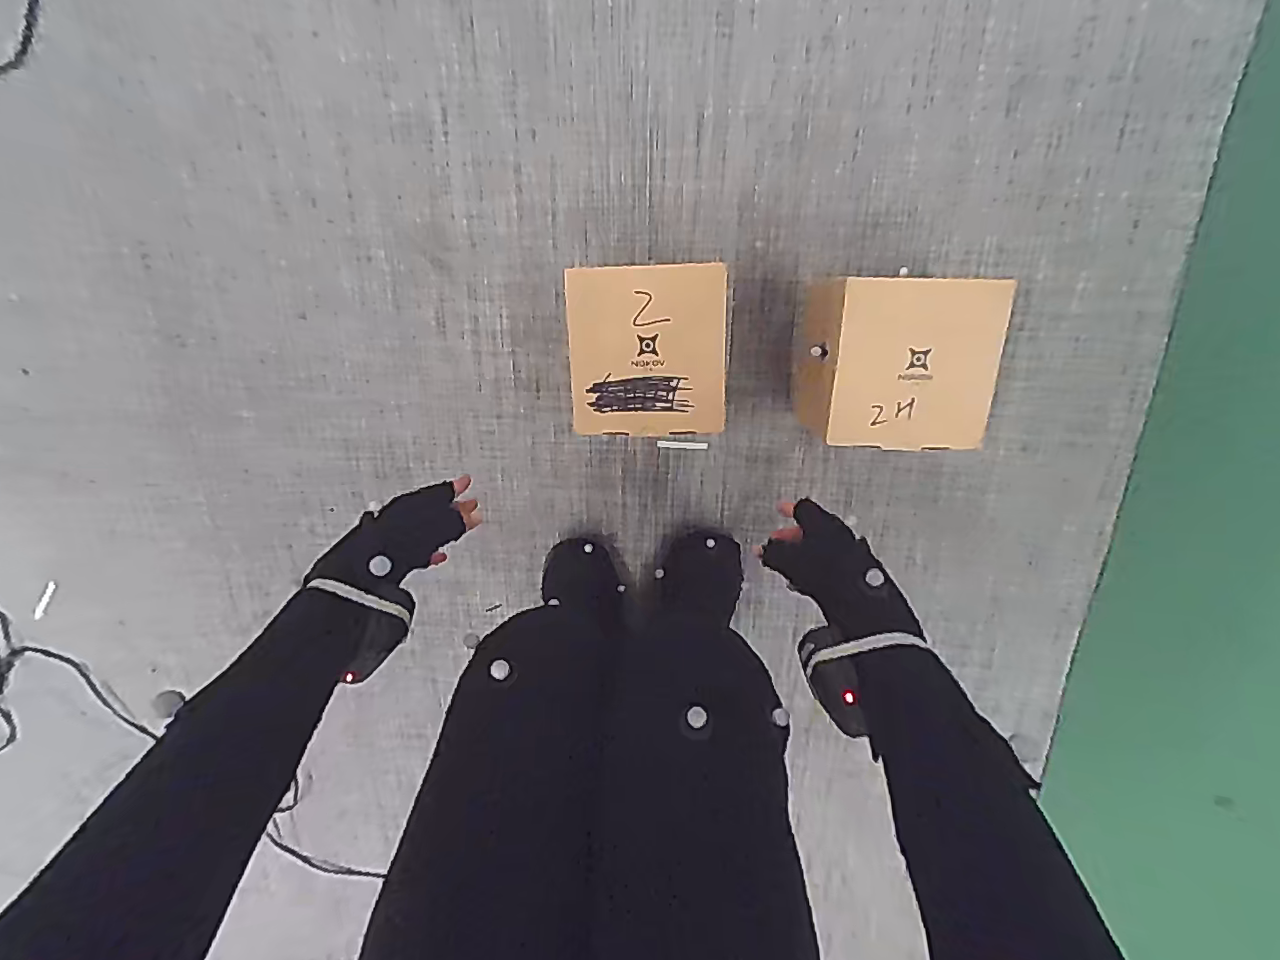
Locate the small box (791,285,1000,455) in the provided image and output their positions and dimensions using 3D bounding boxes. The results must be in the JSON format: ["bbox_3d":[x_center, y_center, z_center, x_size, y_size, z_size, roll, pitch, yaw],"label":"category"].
[{"bbox_3d":[0.286,-0.137,0.649,0.168,0.176,0.179,2,108,3],"label":"small box"}]
